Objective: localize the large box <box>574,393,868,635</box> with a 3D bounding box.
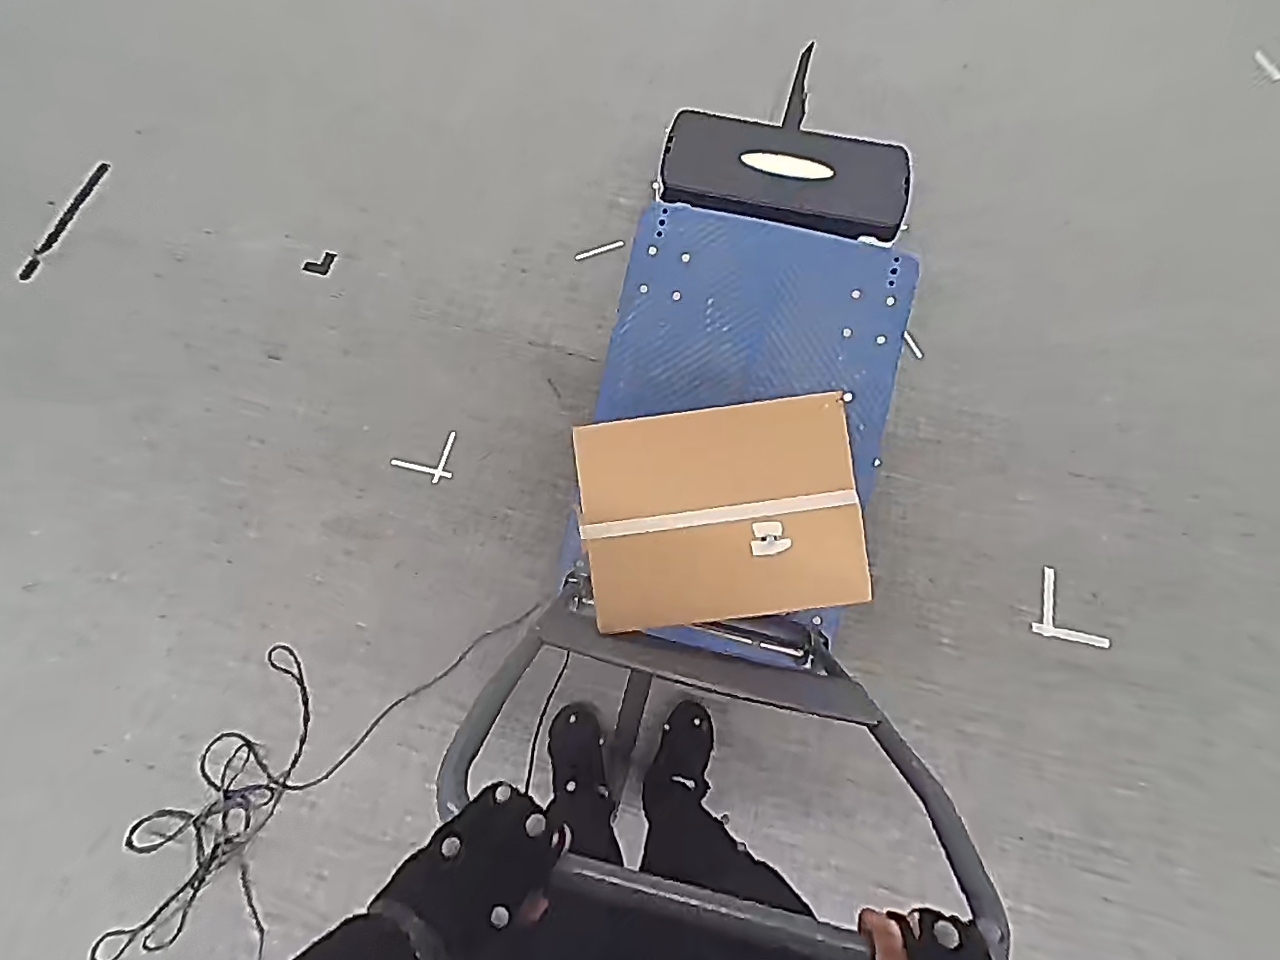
[{"bbox_3d":[0.121,0.055,0.951,0.408,0.320,0.320,-8,89,1],"label":"large box"}]
